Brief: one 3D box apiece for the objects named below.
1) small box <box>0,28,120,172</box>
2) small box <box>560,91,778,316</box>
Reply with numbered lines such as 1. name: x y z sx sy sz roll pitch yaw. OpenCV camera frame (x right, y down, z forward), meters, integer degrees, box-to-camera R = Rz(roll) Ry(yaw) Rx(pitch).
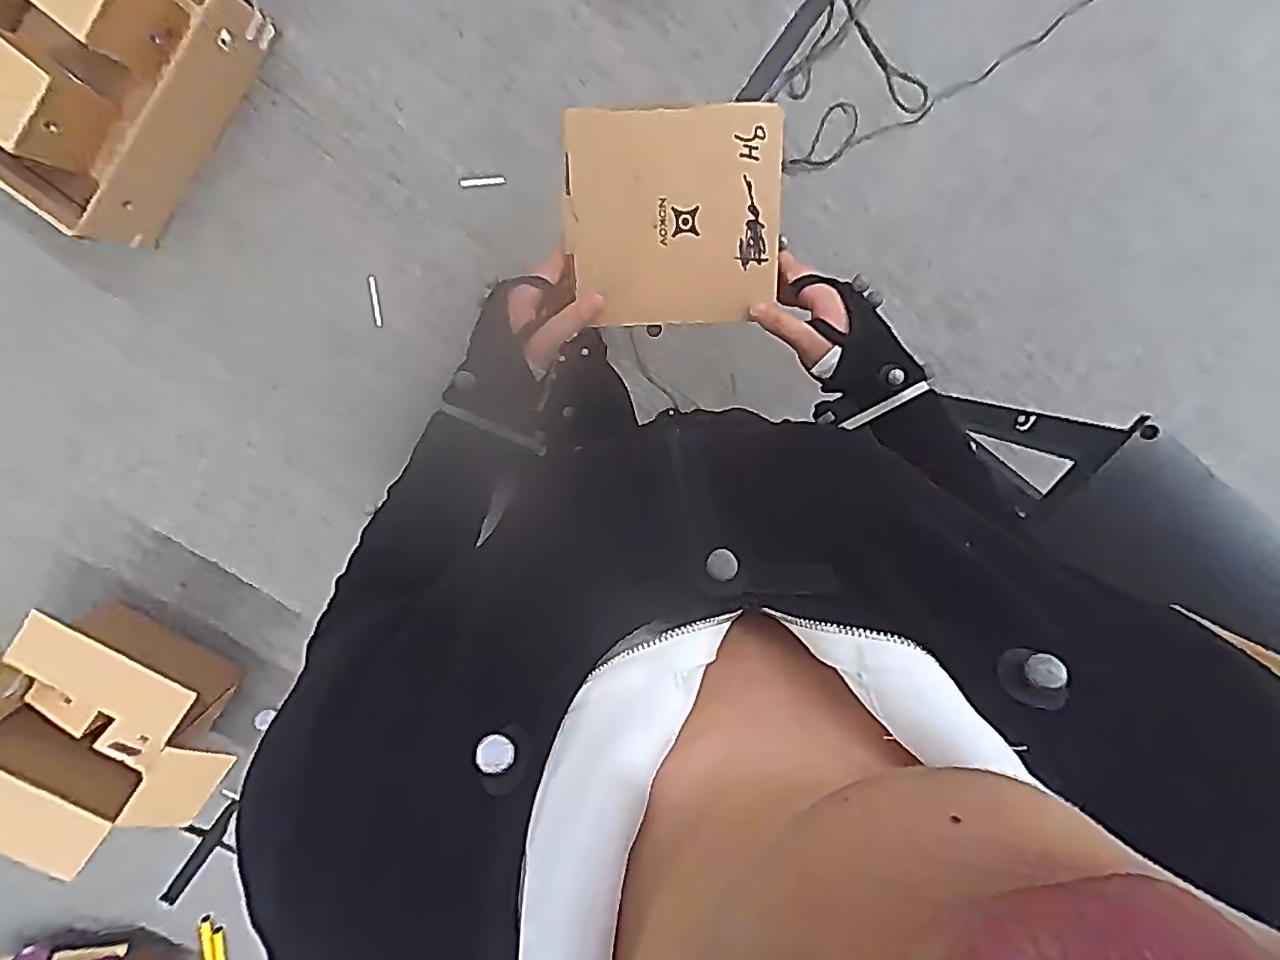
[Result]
1. small box: -1.255 -0.782 1.119 0.168 0.176 0.179 40 98 -13
2. small box: 0.025 -0.249 0.526 0.179 0.176 0.168 -2 107 0
